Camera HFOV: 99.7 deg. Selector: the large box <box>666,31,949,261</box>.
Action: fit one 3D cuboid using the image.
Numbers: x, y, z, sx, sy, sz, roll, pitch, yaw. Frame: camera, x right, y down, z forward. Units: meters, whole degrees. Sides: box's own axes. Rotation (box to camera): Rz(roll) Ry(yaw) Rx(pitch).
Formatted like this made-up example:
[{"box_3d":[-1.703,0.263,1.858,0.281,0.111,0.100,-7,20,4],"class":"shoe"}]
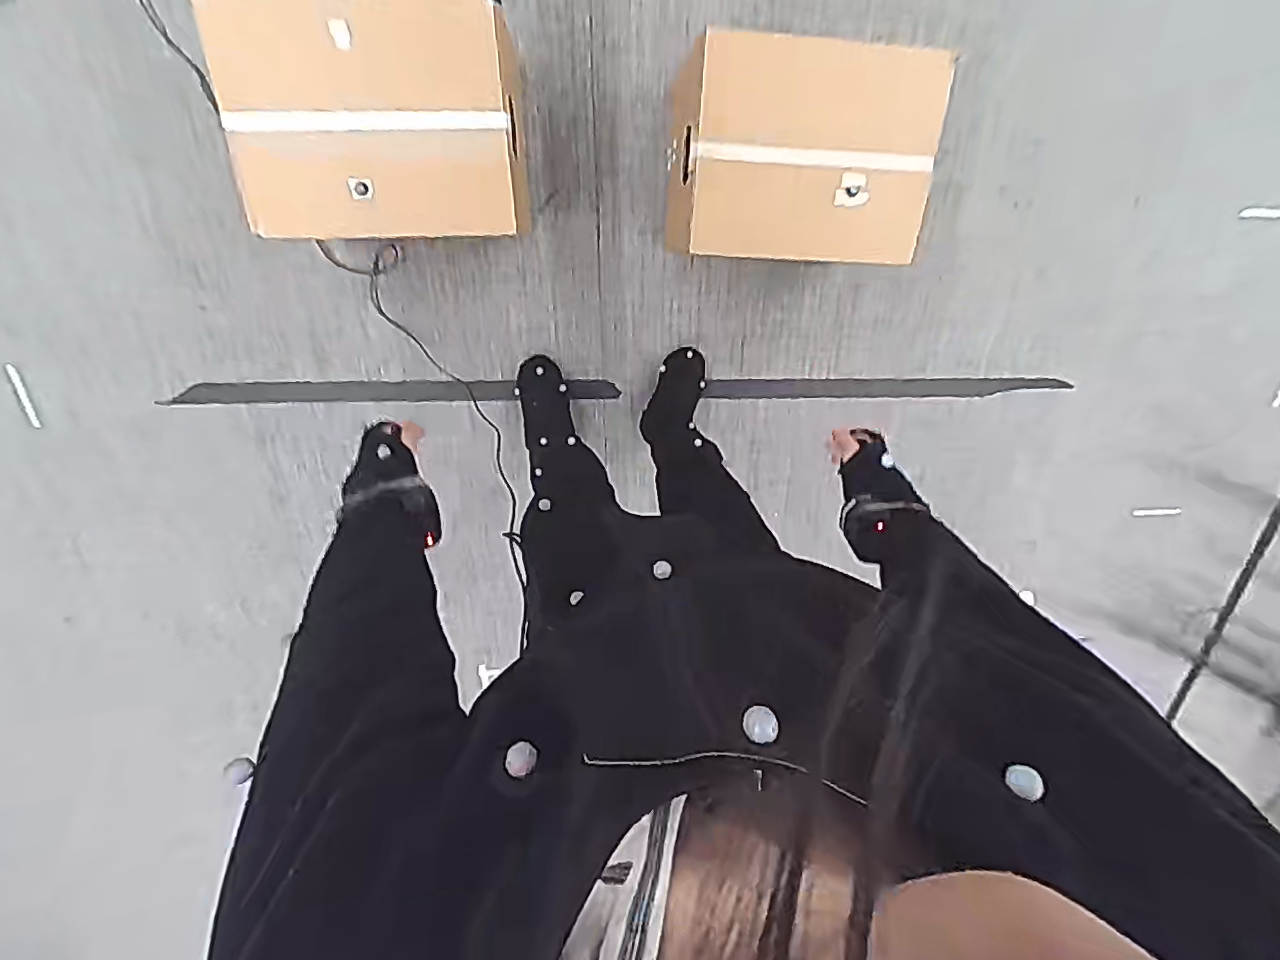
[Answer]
[{"box_3d":[0.273,-0.592,1.028,0.408,0.320,0.320,0,114,-7],"class":"large box"}]
